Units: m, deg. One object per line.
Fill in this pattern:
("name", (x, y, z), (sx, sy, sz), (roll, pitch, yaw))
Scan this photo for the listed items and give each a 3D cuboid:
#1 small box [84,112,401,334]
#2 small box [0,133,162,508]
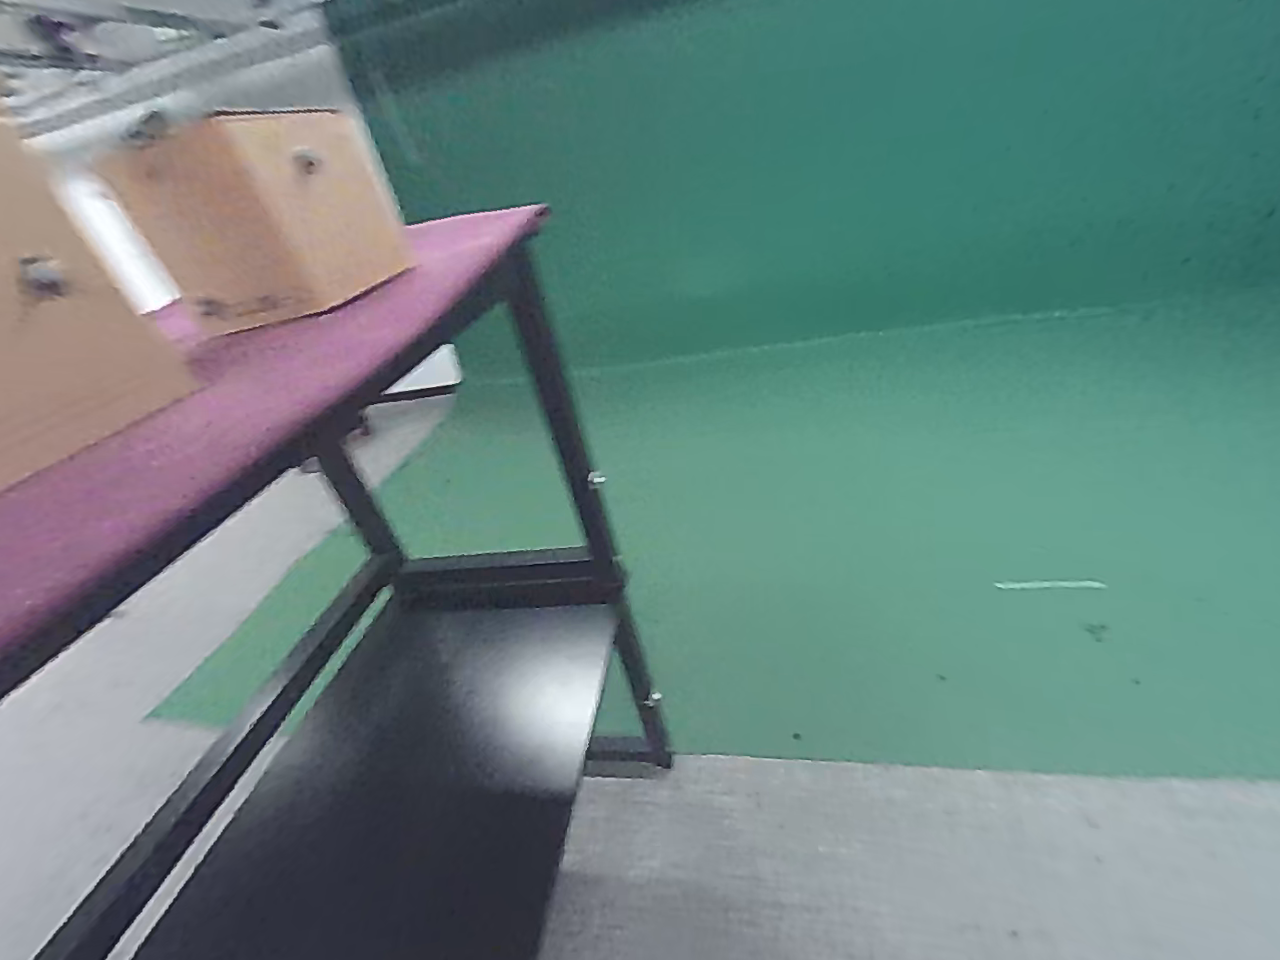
("small box", (-0.391, -0.266, 0.574), (0.168, 0.176, 0.179), (-6, 33, 16))
("small box", (-0.418, -0.068, 0.287), (0.168, 0.176, 0.179), (-6, 34, 13))
